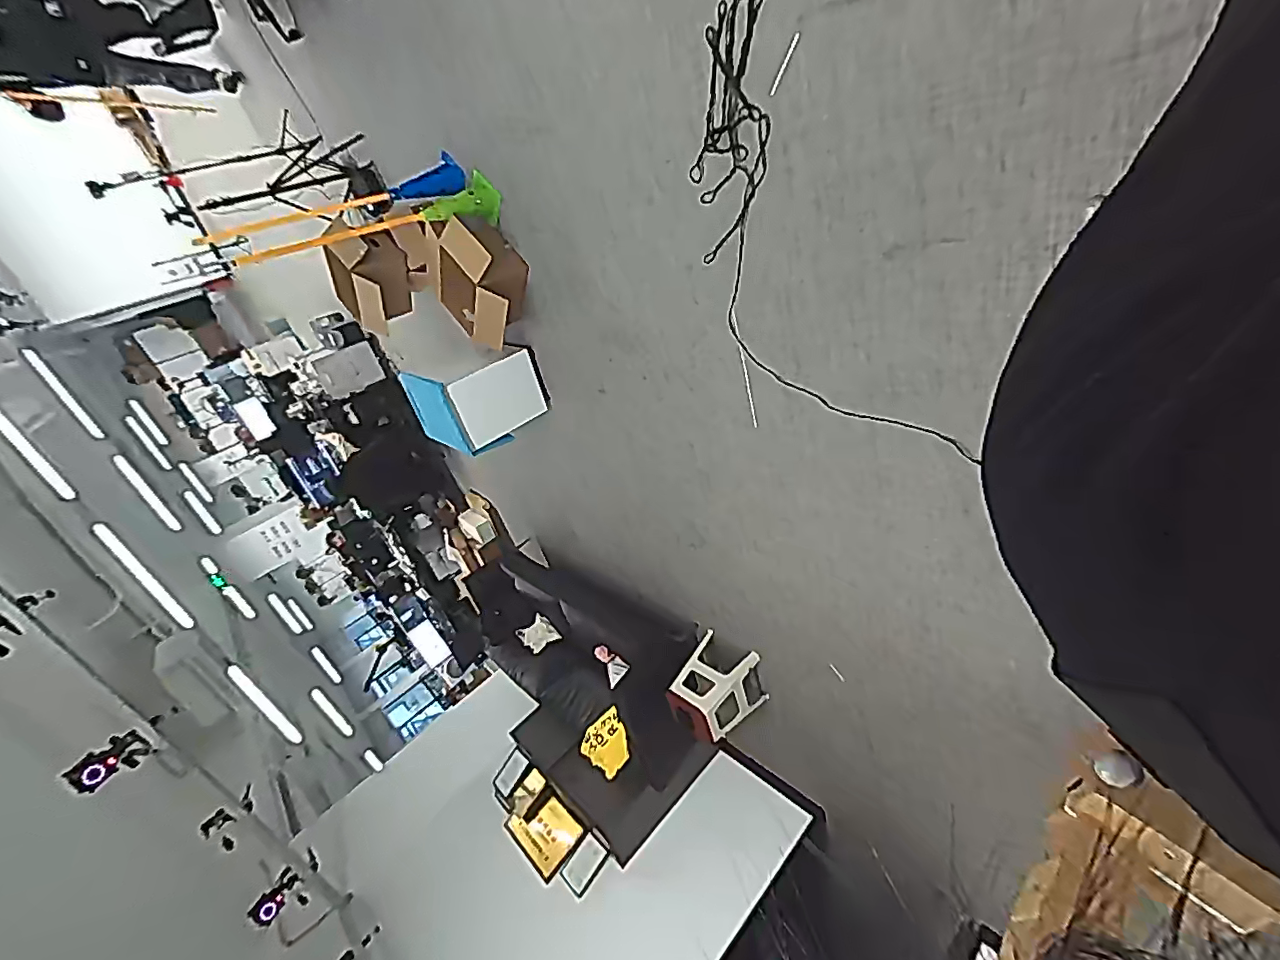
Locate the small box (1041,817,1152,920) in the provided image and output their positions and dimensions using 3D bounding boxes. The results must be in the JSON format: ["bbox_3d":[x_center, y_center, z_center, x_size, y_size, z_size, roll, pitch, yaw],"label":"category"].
[{"bbox_3d":[1.271,1.088,1.508,0.168,0.176,0.179,33,145,32],"label":"small box"}]

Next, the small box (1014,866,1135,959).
[{"bbox_3d":[1.150,1.167,1.434,0.179,0.176,0.168,34,146,31],"label":"small box"}]
